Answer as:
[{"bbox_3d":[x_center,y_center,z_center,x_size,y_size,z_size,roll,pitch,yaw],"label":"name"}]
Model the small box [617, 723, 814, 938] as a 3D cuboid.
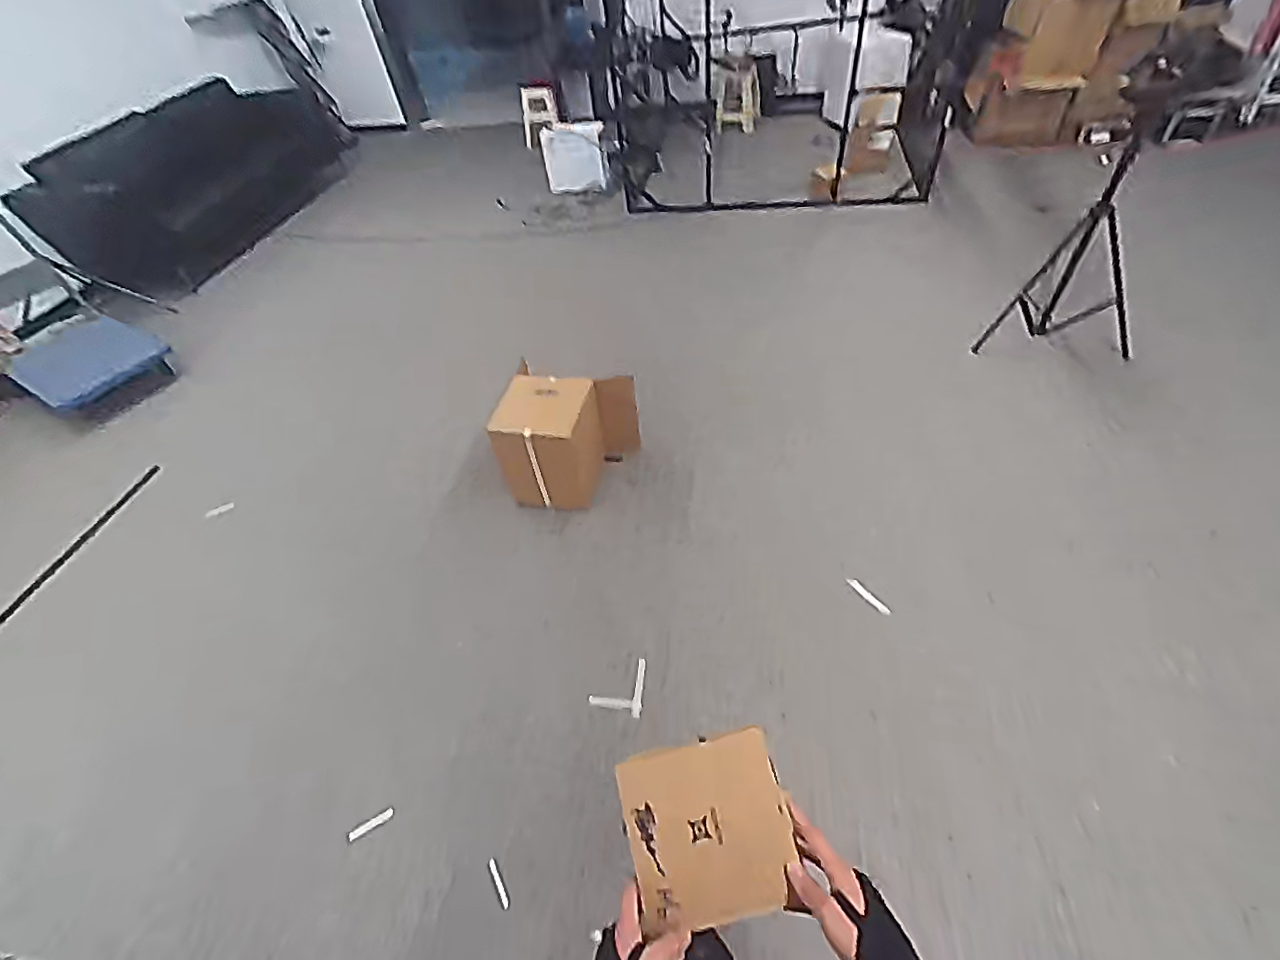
[{"bbox_3d":[0.086,0.402,0.652,0.179,0.176,0.168,-17,66,3],"label":"small box"}]
